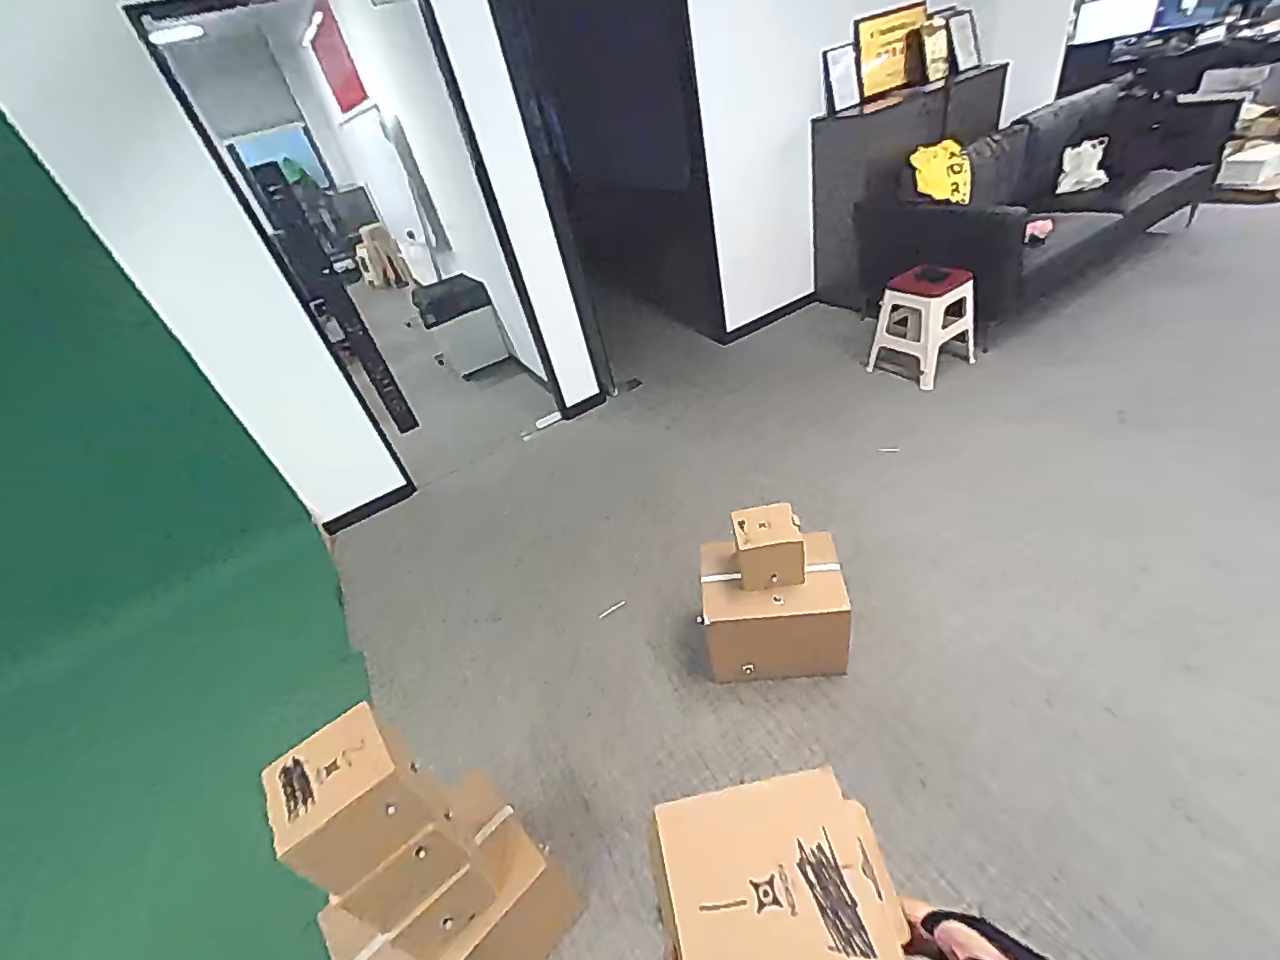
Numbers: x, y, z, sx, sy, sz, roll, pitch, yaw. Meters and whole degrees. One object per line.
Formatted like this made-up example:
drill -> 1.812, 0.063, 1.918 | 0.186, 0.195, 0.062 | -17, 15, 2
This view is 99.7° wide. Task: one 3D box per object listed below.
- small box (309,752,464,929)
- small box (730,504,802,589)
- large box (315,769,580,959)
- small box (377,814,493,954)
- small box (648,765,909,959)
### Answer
small box -> -0.447, 0.643, 0.966 | 0.179, 0.176, 0.168 | -32, 40, -24
small box -> 0.362, 0.193, 1.564 | 0.179, 0.176, 0.168 | -8, 35, 6
large box -> -0.406, 0.969, 1.210 | 0.408, 0.320, 0.320 | -39, 42, -28
small box -> -0.415, 0.774, 1.056 | 0.168, 0.176, 0.179 | -33, 41, -25
small box -> 0.110, 0.388, 0.507 | 0.179, 0.176, 0.168 | -7, 50, -9
